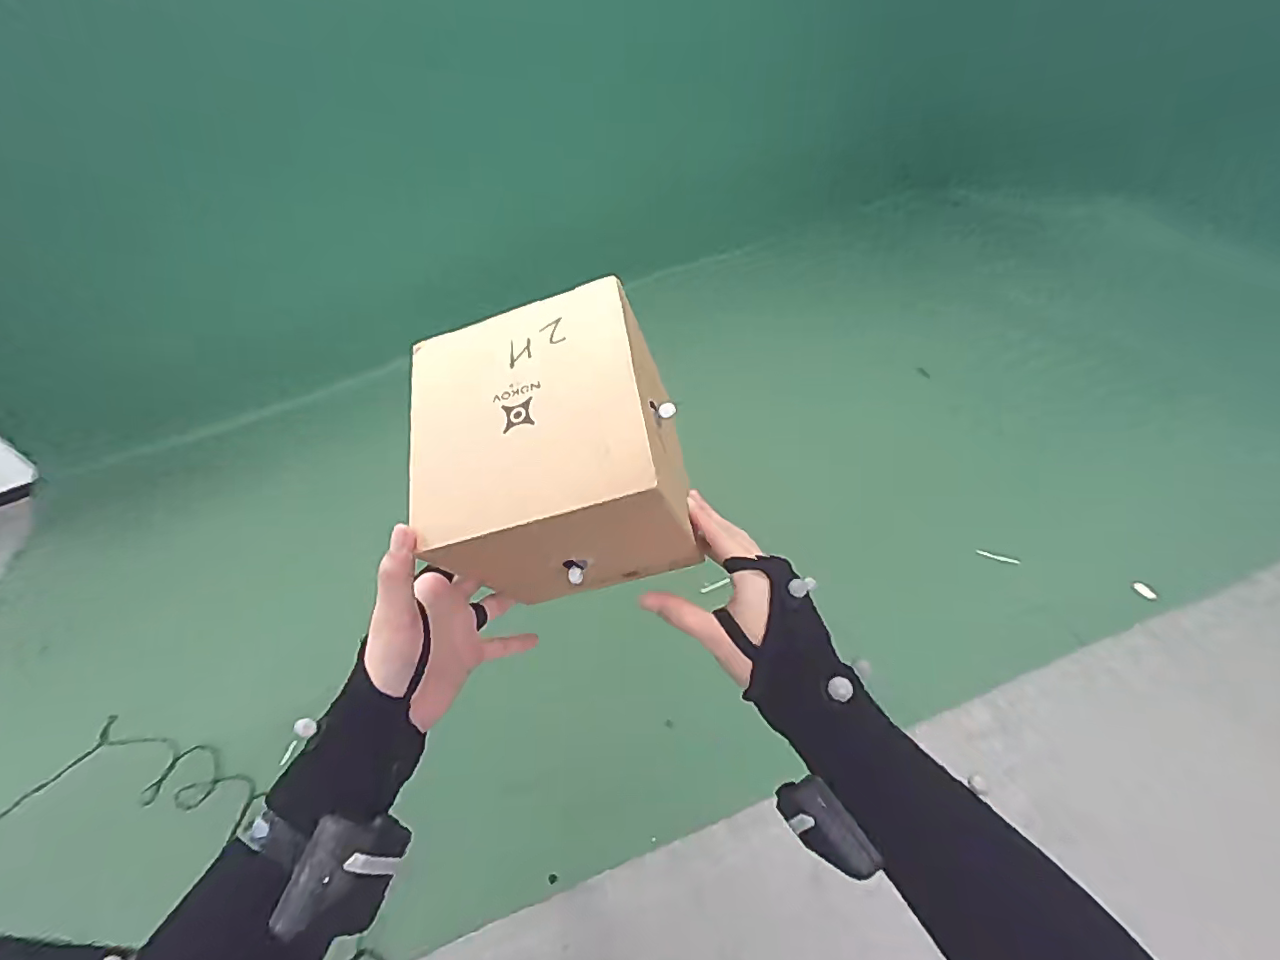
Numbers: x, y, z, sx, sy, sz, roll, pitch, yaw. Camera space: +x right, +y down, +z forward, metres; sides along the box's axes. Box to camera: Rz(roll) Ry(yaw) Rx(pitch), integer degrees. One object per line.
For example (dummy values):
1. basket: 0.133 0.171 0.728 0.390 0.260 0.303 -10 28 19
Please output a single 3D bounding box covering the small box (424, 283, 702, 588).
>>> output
1. small box: -0.053 -0.018 0.443 0.168 0.176 0.179 -14 64 10
